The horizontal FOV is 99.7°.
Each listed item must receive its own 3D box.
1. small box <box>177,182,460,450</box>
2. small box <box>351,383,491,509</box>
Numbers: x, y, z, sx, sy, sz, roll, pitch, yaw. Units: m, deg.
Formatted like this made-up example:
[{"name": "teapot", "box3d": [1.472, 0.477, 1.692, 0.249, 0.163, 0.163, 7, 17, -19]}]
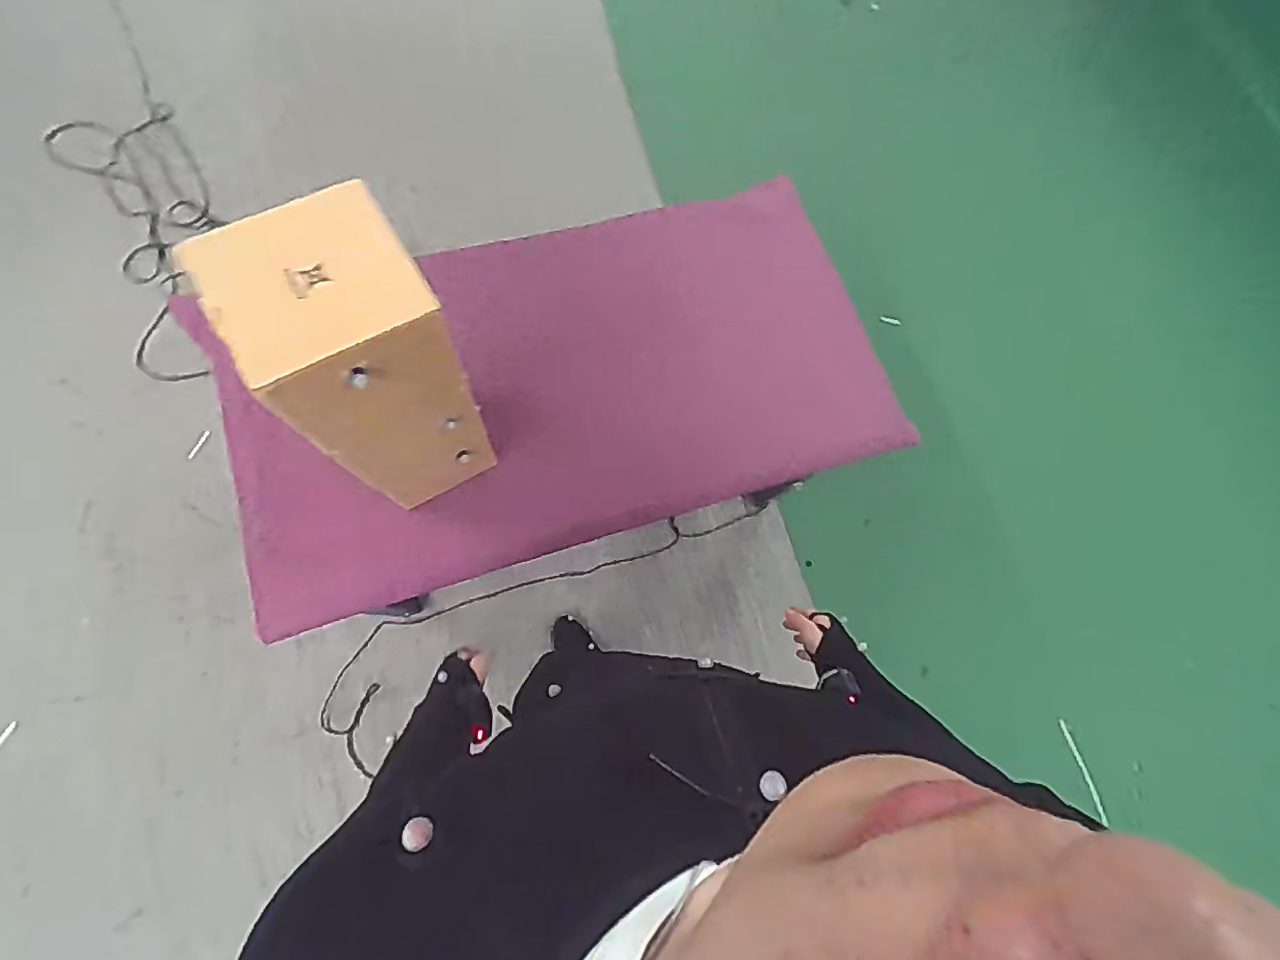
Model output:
[{"name": "small box", "box3d": [-0.305, -0.158, 0.562, 0.179, 0.176, 0.168, -31, 81, -15]}, {"name": "small box", "box3d": [-0.356, -0.075, 0.873, 0.179, 0.176, 0.168, -30, 80, -14]}]
